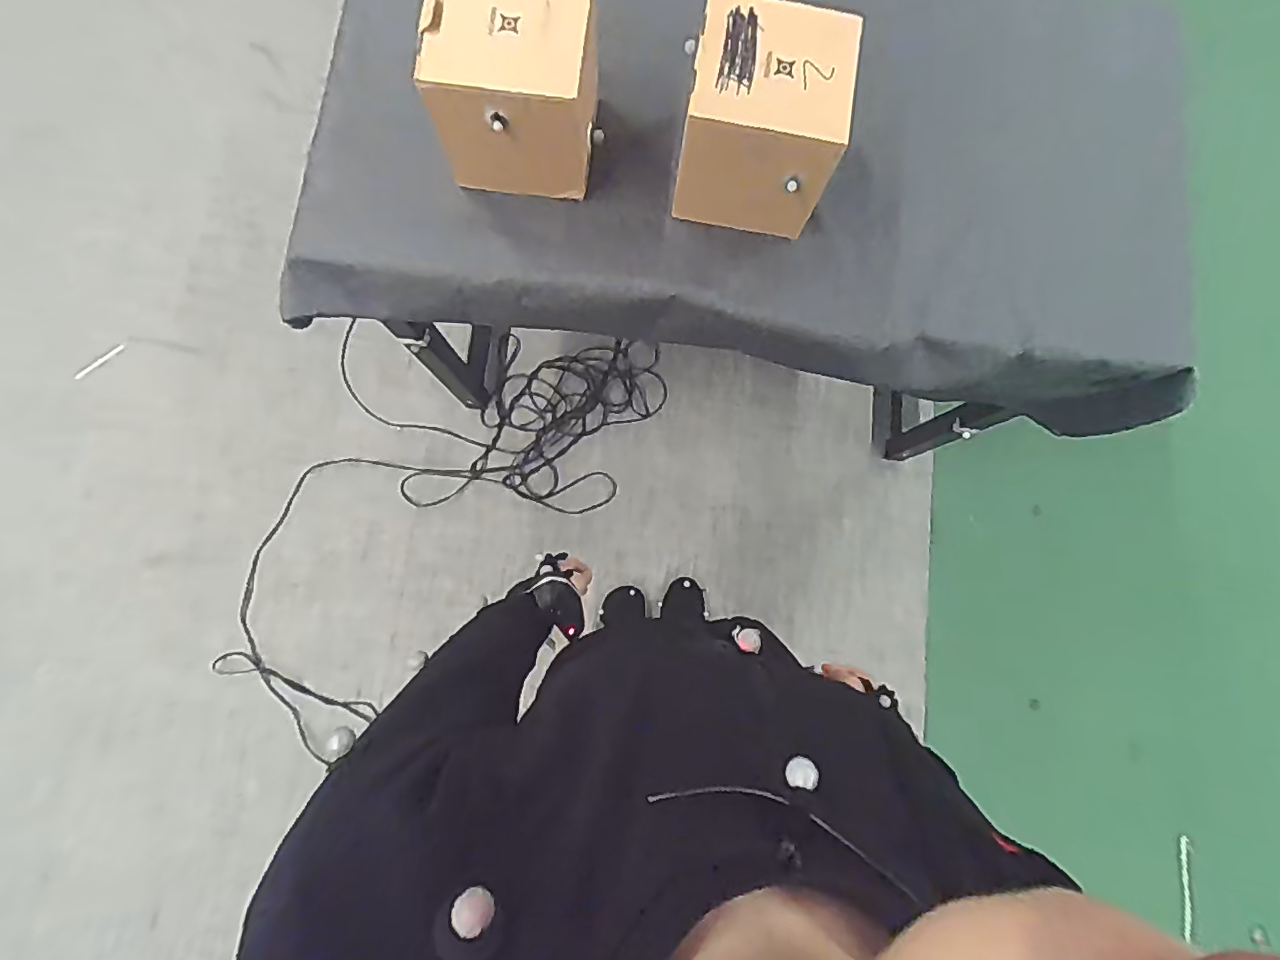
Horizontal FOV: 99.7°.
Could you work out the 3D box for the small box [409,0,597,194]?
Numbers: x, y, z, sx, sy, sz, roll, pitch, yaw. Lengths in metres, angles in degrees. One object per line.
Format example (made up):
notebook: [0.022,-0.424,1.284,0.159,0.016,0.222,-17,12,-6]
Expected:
small box: [-0.150,-0.480,0.658,0.179,0.176,0.168,7,81,-2]
